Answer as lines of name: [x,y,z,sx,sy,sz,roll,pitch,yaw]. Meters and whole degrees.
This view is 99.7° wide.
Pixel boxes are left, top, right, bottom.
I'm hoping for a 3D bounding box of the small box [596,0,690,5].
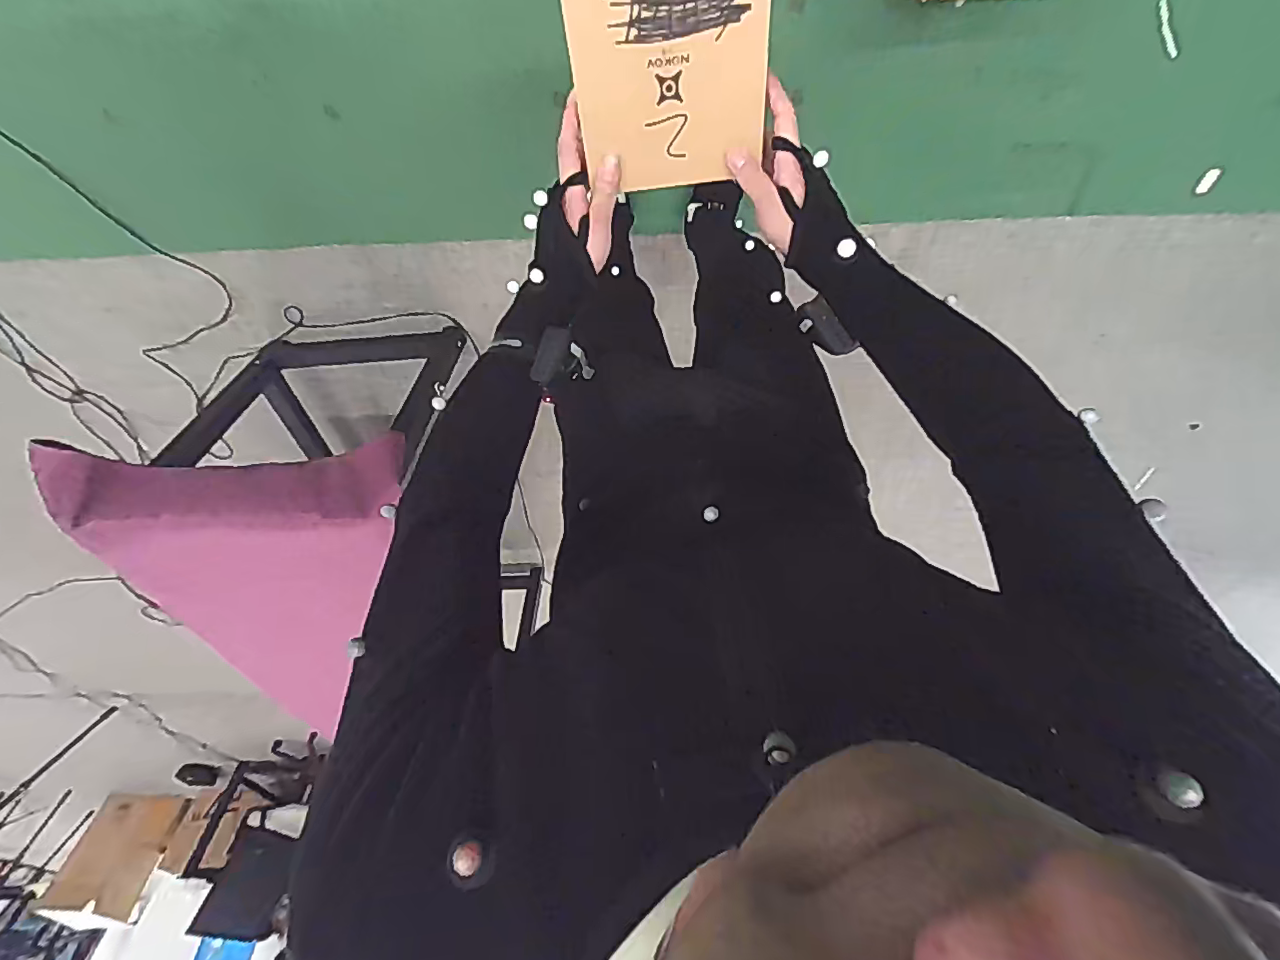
small box: [0.008,-0.917,0.902,0.168,0.176,0.179,-1,133,2]
